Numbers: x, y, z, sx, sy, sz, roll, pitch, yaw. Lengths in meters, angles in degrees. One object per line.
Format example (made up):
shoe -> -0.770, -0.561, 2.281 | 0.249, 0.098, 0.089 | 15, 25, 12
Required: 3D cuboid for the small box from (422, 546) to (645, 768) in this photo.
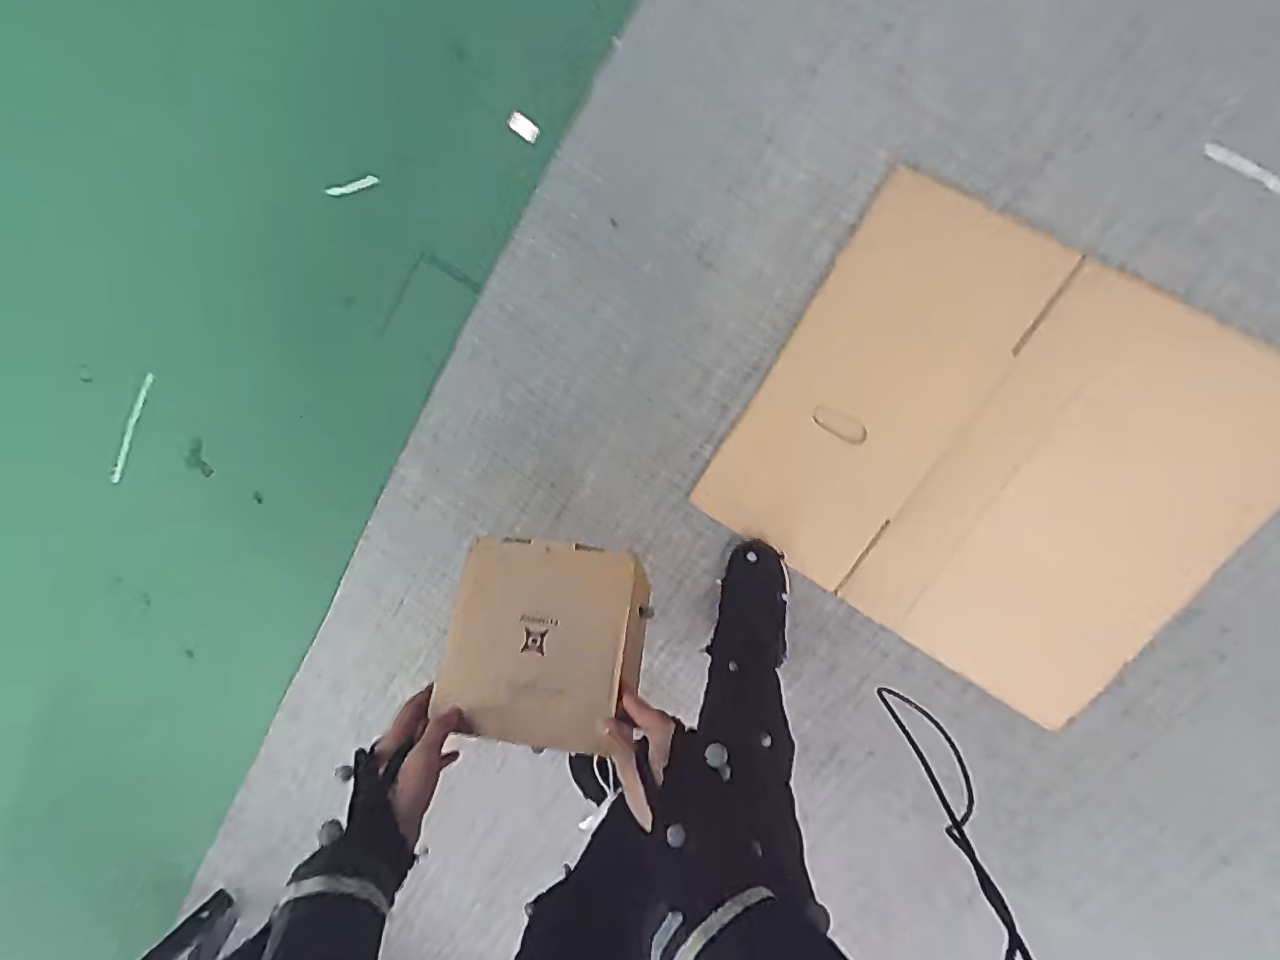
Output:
small box -> -0.089, 0.180, 0.552 | 0.168, 0.176, 0.179 | 3, 67, 8
